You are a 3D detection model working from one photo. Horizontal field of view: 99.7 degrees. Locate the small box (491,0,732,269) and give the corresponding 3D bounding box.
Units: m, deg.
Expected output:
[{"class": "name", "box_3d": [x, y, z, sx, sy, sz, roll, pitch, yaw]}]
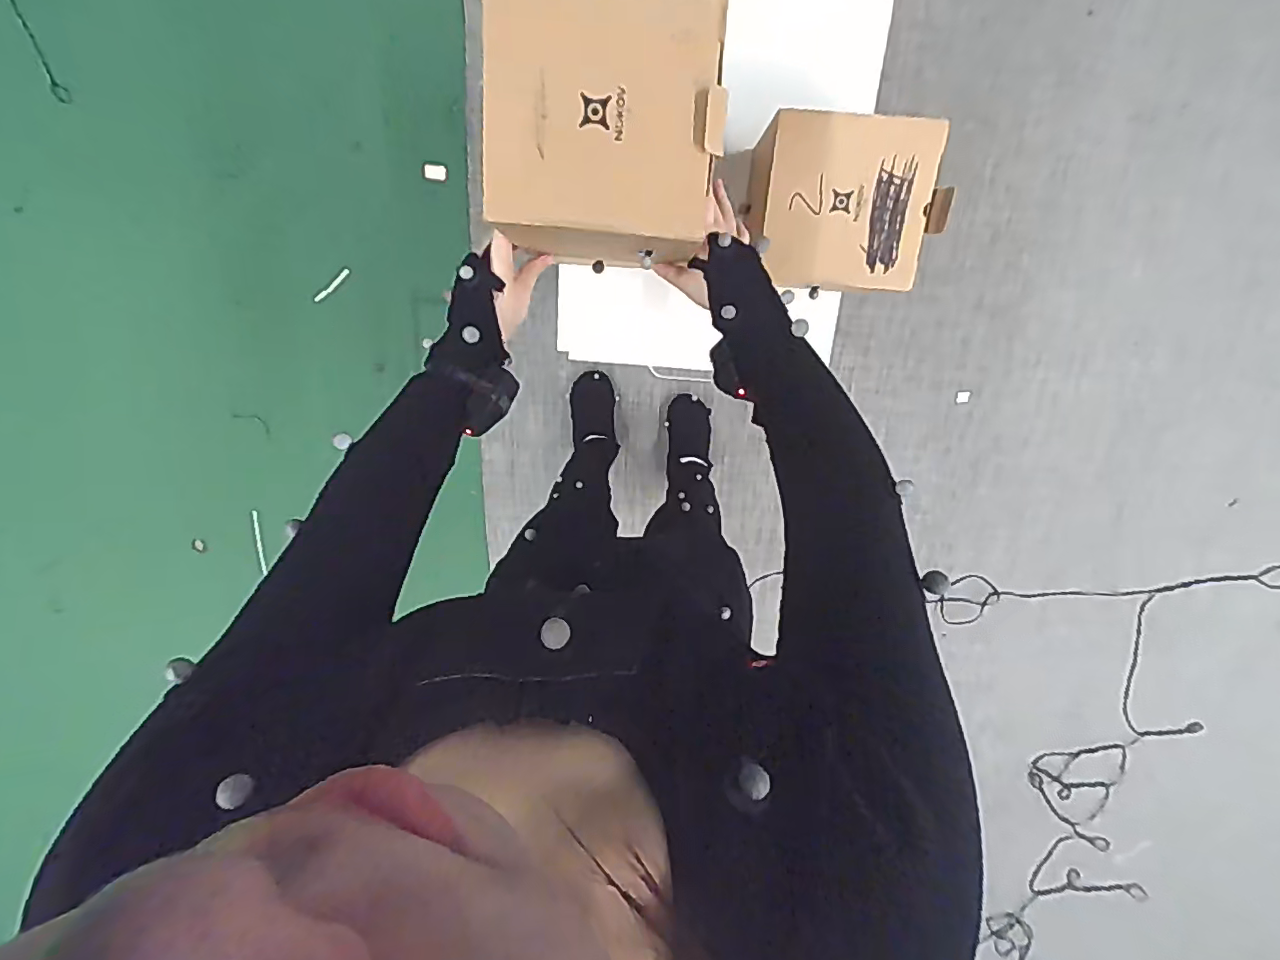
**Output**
[{"class": "small box", "box_3d": [-0.026, -0.289, 0.484, 0.179, 0.176, 0.168, 4, 105, -1]}]
